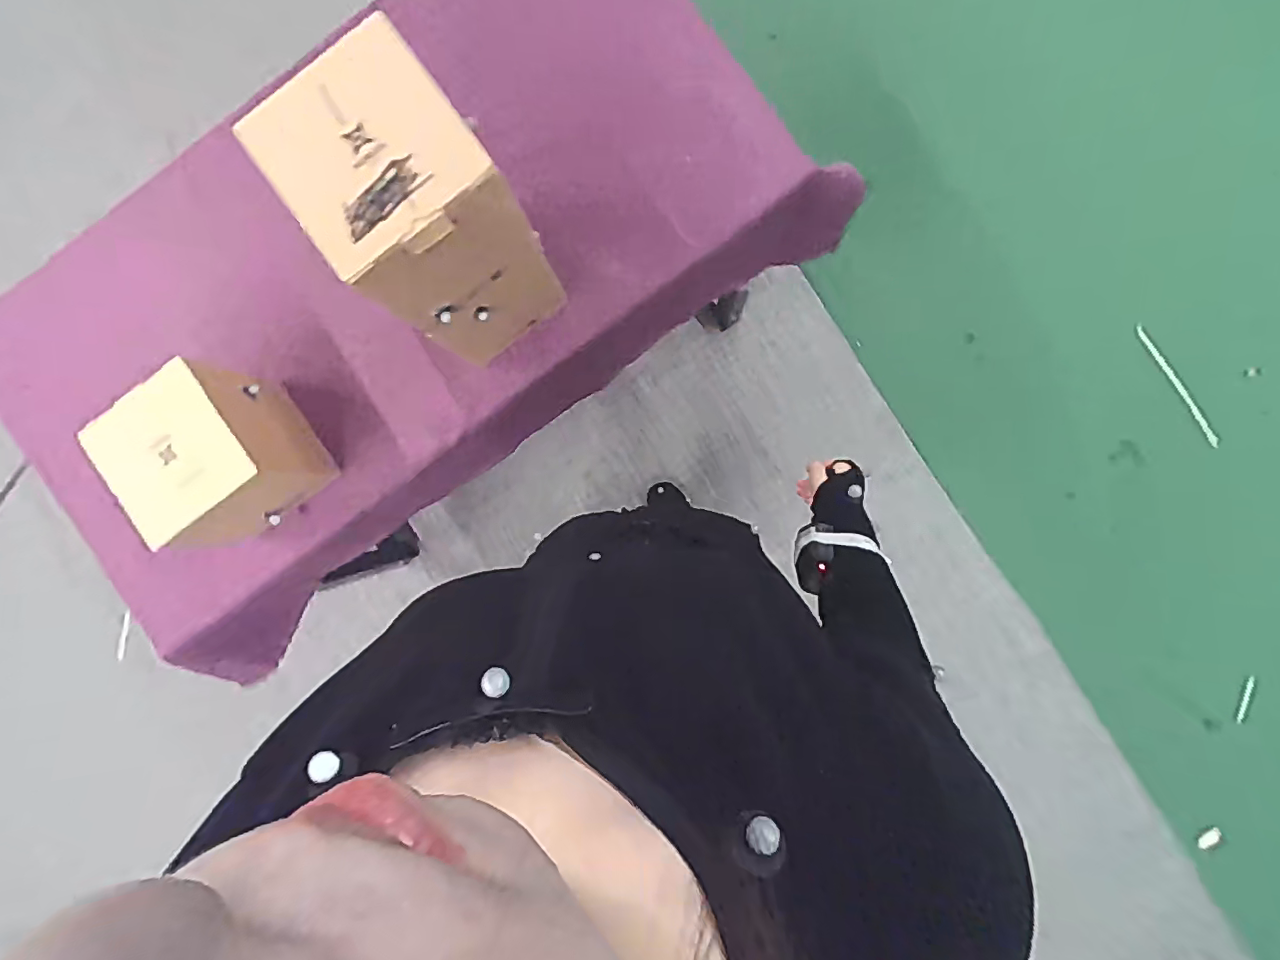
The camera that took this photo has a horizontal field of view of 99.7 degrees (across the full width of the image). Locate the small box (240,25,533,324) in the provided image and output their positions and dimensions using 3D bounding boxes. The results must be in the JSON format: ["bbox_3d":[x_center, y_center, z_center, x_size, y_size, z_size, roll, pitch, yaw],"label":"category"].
[{"bbox_3d":[-0.234,-0.281,0.550,0.168,0.176,0.179,-37,87,2],"label":"small box"}]

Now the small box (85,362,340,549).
[{"bbox_3d":[-0.562,-0.028,0.735,0.168,0.176,0.179,-35,89,3],"label":"small box"}]

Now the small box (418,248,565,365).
[{"bbox_3d":[-0.225,-0.279,0.715,0.168,0.176,0.179,-36,87,4],"label":"small box"}]
